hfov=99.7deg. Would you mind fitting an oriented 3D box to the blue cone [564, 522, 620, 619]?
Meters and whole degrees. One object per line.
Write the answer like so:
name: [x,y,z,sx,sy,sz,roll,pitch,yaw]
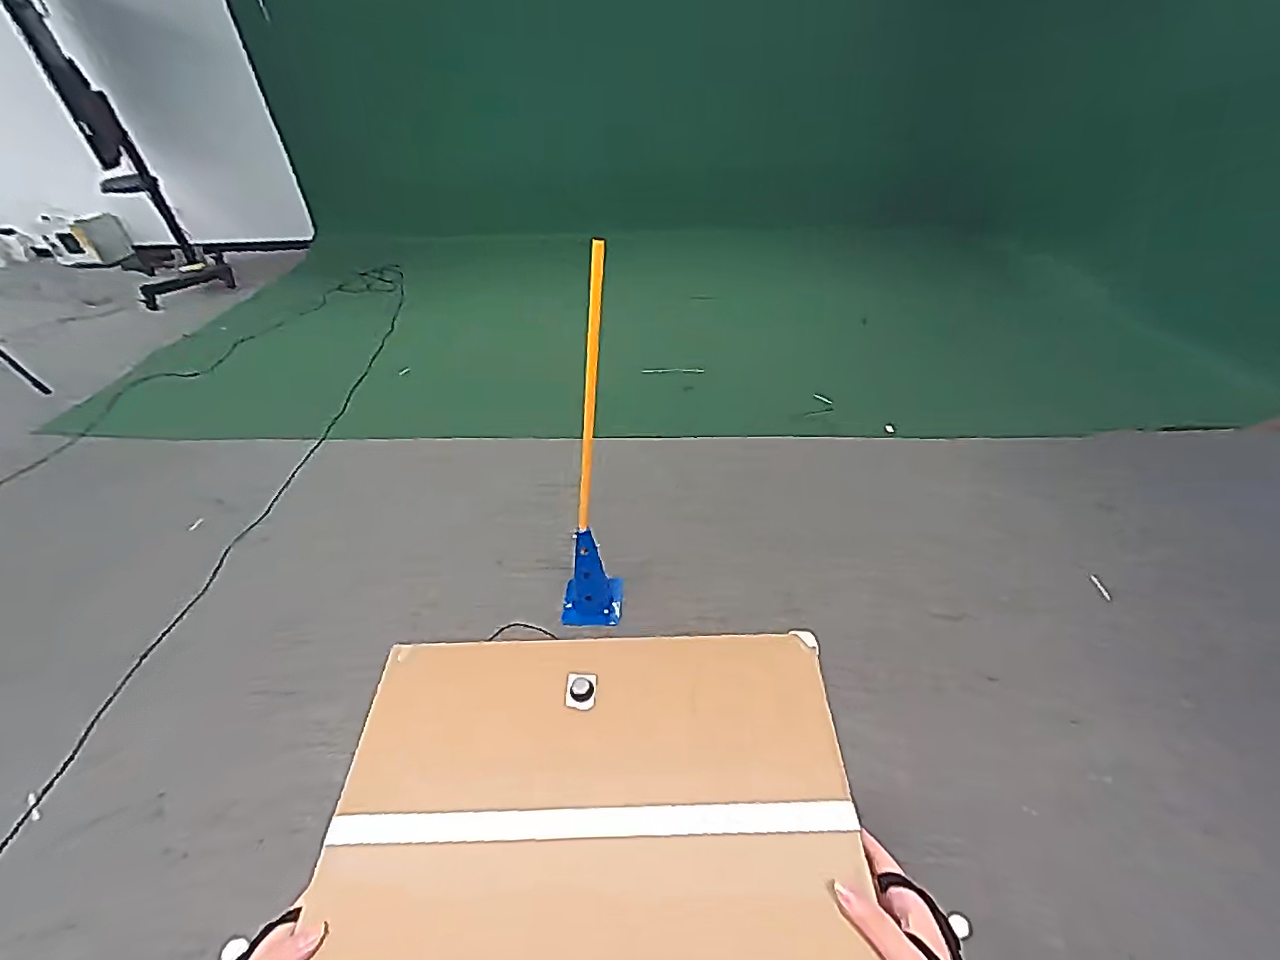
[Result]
blue cone: [-0.166,0.274,1.759,0.193,0.380,0.192,0,40,0]
